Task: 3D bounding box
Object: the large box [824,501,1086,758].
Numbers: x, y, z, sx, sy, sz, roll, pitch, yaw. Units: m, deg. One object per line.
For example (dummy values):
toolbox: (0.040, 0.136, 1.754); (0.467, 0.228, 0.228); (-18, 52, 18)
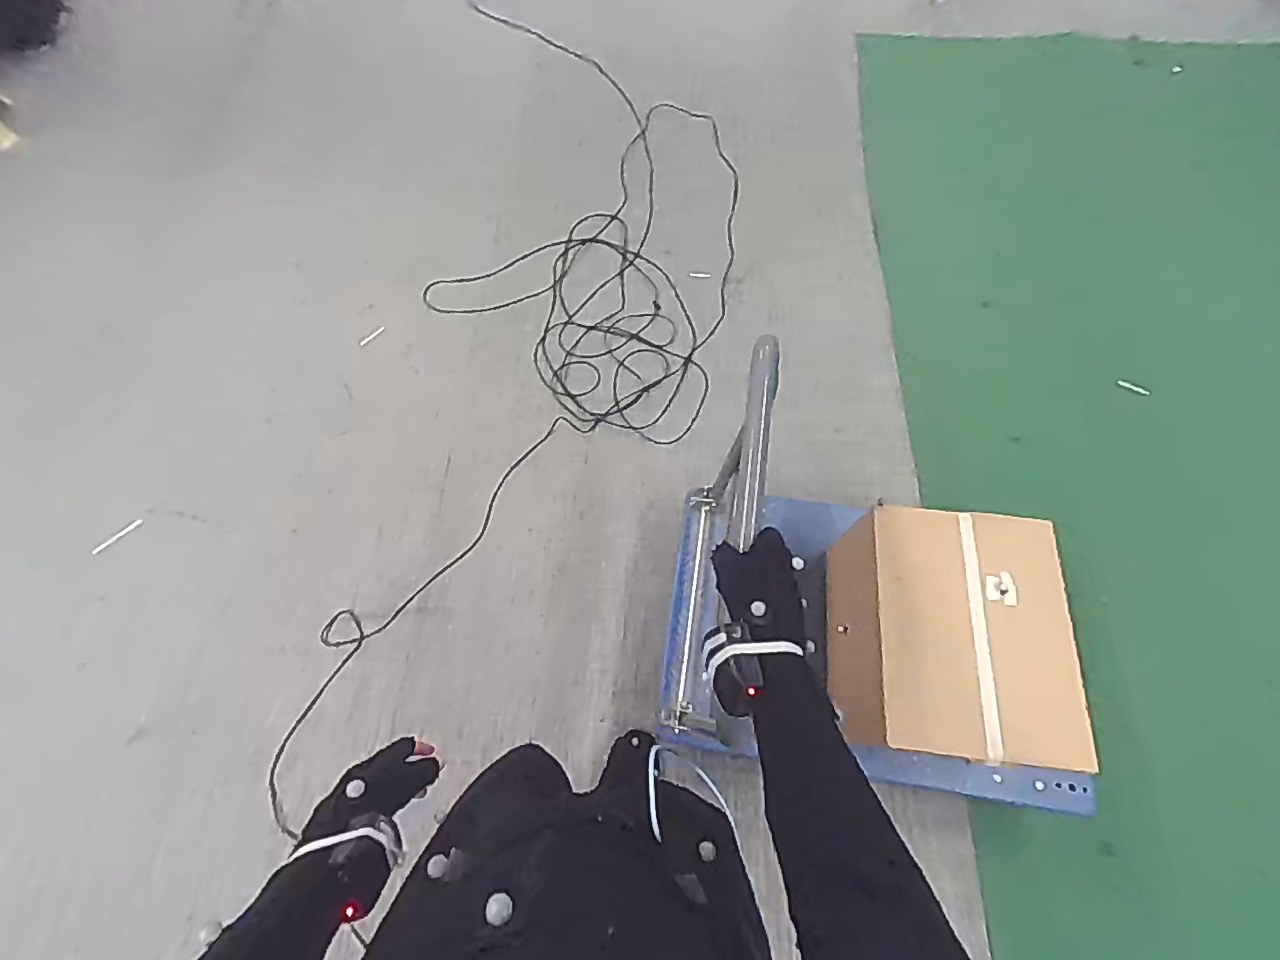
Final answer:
large box: (0.553, 0.293, 1.045); (0.320, 0.320, 0.408); (6, 66, 4)
